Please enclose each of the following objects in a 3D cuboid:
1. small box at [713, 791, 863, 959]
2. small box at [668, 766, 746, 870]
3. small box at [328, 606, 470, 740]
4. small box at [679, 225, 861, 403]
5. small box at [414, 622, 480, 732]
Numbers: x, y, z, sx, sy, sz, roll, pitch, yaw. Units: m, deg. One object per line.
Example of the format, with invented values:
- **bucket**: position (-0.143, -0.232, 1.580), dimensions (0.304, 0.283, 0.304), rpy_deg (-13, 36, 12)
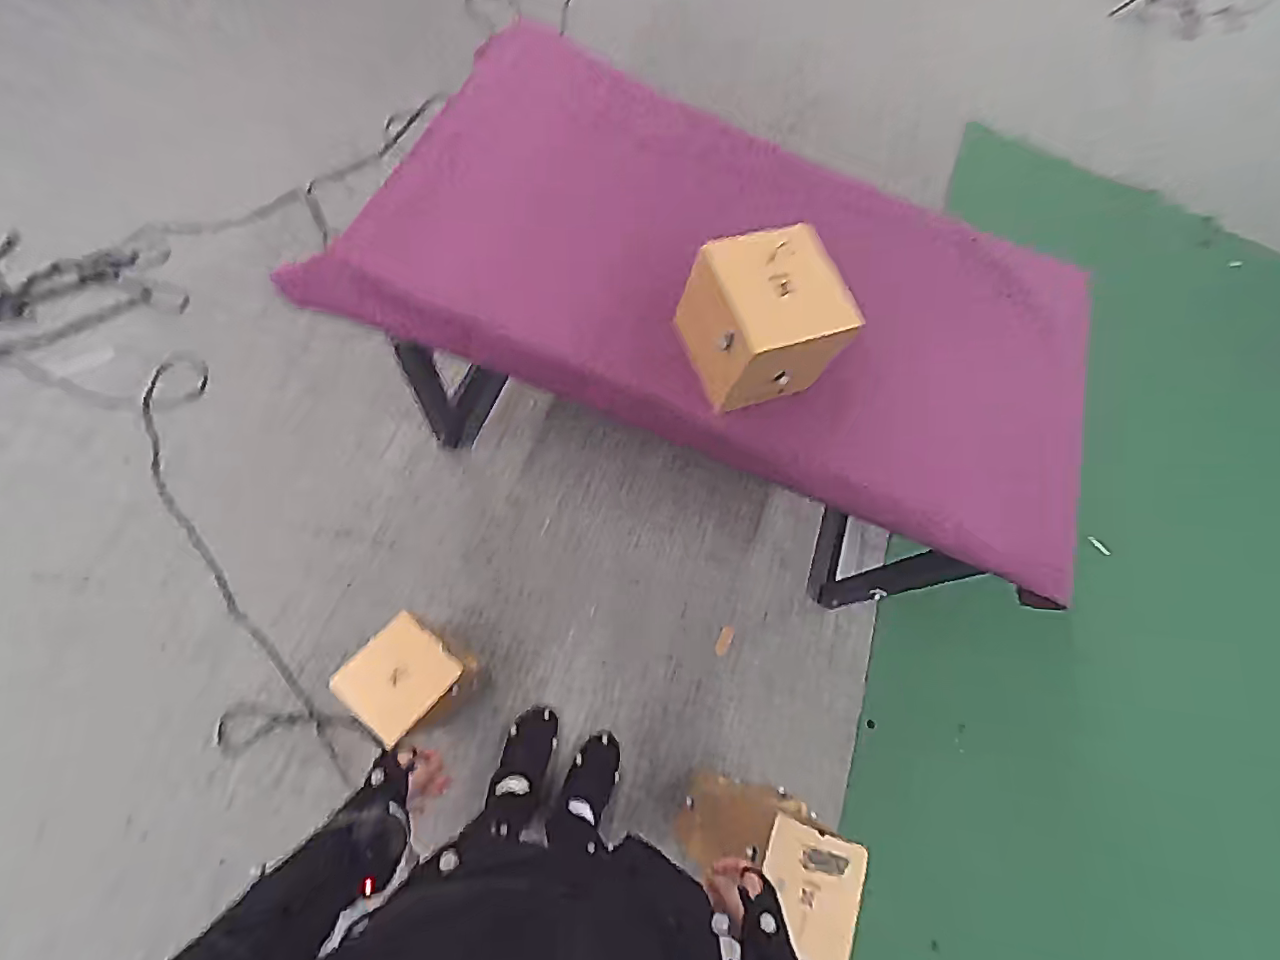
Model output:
- **small box**: position (0.240, 0.656, 0.910), dimensions (0.168, 0.176, 0.179), rpy_deg (24, 70, -2)
- **small box**: position (0.184, 0.769, 1.214), dimensions (0.179, 0.176, 0.168), rpy_deg (32, 69, 2)
- **small box**: position (-0.460, 0.377, 1.065), dimensions (0.168, 0.176, 0.179), rpy_deg (42, 69, 7)
- **small box**: position (0.173, -0.228, 0.779), dimensions (0.168, 0.176, 0.179), rpy_deg (-16, 74, -16)
- **small box**: position (-0.478, 0.432, 1.215), dimensions (0.168, 0.176, 0.179), rpy_deg (36, 70, 4)
